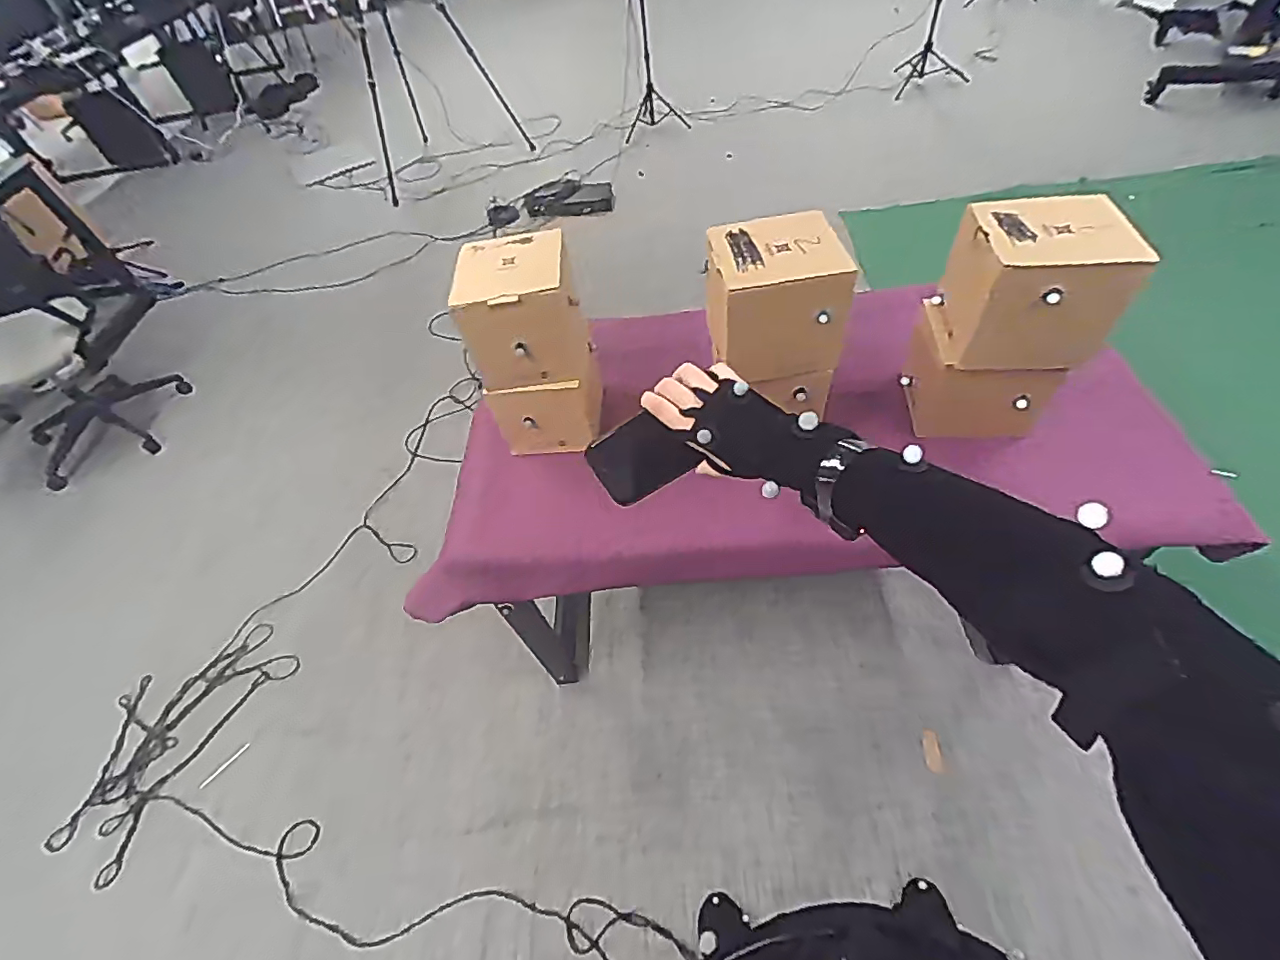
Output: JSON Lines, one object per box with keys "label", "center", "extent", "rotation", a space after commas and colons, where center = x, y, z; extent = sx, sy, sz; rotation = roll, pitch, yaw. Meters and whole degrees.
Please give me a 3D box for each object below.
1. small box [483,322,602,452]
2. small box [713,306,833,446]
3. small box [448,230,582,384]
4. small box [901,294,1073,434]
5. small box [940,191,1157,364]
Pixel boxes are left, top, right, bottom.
{"label": "small box", "center": [-0.167, -0.164, 0.998], "extent": [0.168, 0.176, 0.179], "rotation": [-4, 52, 7]}
{"label": "small box", "center": [0.219, -0.177, 0.941], "extent": [0.179, 0.176, 0.168], "rotation": [-4, 52, 7]}
{"label": "small box", "center": [-0.189, -0.270, 0.875], "extent": [0.168, 0.176, 0.179], "rotation": [-7, 52, 3]}
{"label": "small box", "center": [0.556, -0.189, 0.896], "extent": [0.179, 0.176, 0.168], "rotation": [1, 52, 10]}
{"label": "small box", "center": [0.543, -0.277, 0.758], "extent": [0.179, 0.176, 0.168], "rotation": [1, 52, 10]}
